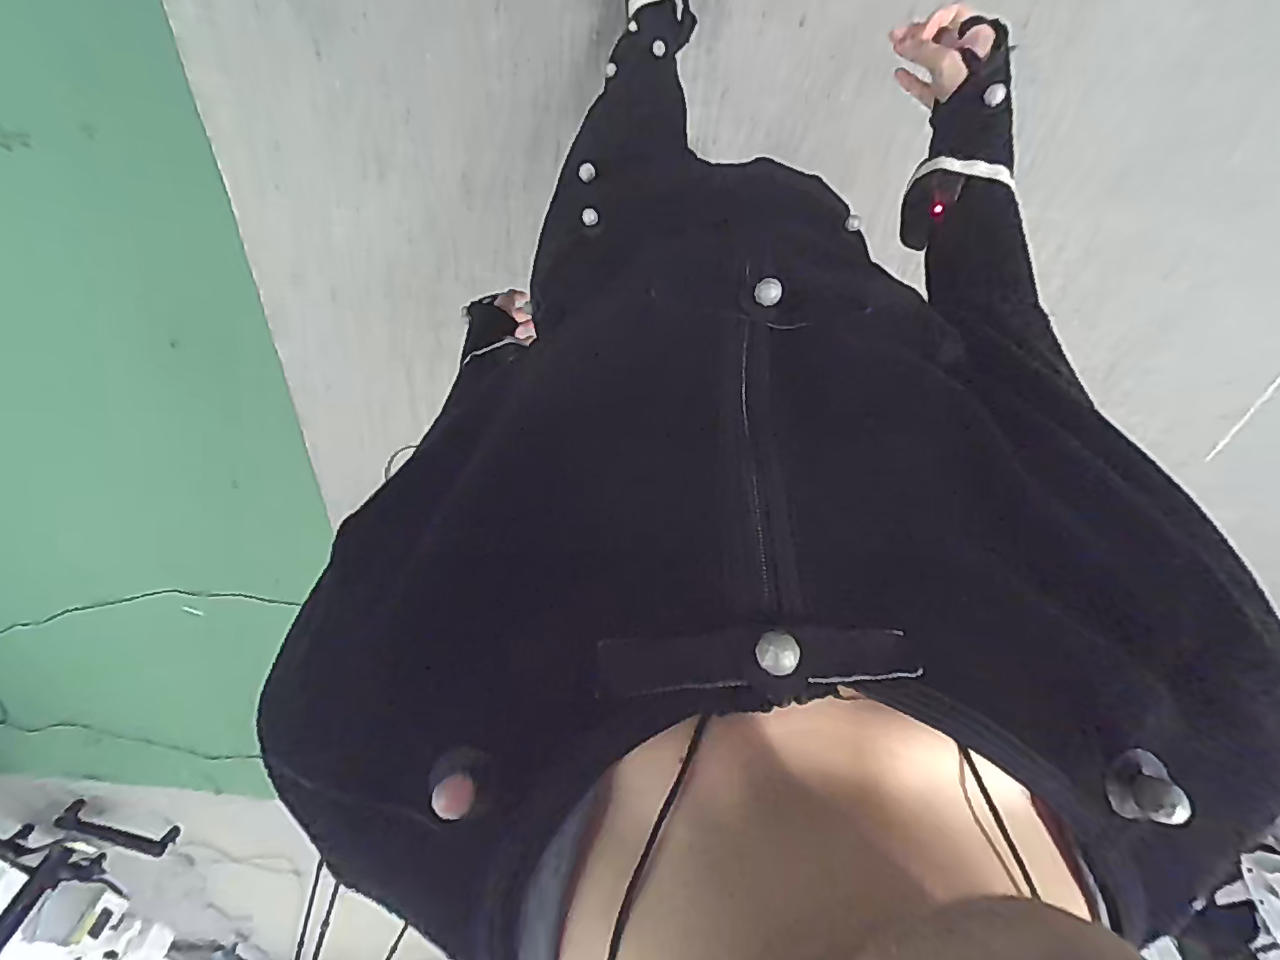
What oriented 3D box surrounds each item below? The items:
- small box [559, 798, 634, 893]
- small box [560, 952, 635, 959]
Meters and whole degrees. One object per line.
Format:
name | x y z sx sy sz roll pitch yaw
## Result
small box | -0.116 0.988 1.468 0.179 0.176 0.168 8 128 -3
small box | -0.110 1.177 1.200 0.179 0.176 0.168 7 128 -4
